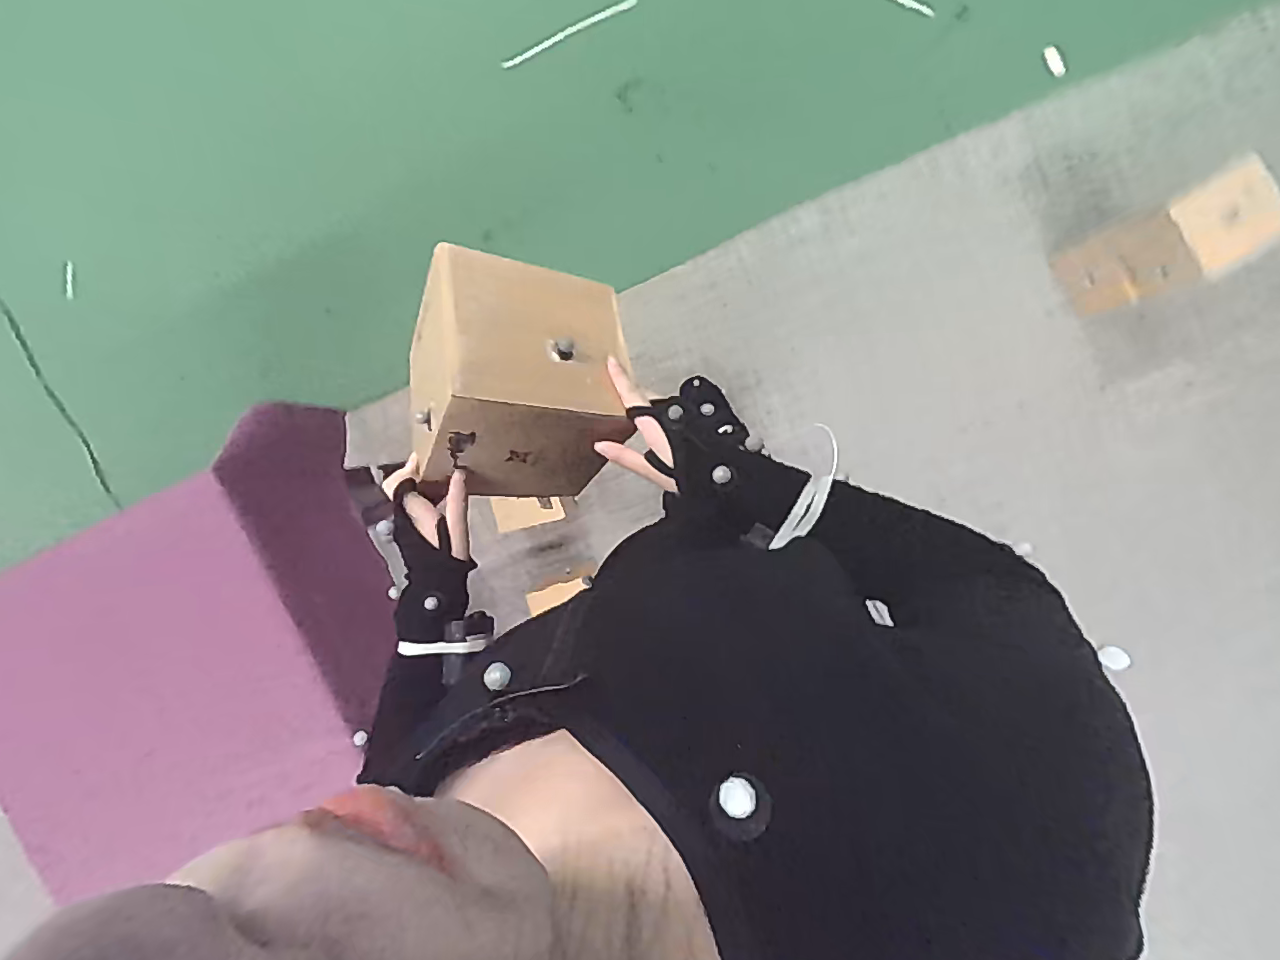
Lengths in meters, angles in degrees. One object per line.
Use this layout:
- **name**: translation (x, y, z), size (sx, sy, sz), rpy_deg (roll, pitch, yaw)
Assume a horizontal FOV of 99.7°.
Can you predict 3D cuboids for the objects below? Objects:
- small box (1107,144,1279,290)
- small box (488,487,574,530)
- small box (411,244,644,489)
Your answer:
- **small box**: translation (1.097, -0.511, 1.081), size (0.179, 0.176, 0.168), rpy_deg (-33, 92, 6)
- **small box**: translation (-0.281, 0.021, 1.418), size (0.179, 0.176, 0.168), rpy_deg (-14, 93, 7)
- **small box**: translation (-0.123, -0.103, 0.543), size (0.179, 0.168, 0.176), rpy_deg (3, 61, -31)
